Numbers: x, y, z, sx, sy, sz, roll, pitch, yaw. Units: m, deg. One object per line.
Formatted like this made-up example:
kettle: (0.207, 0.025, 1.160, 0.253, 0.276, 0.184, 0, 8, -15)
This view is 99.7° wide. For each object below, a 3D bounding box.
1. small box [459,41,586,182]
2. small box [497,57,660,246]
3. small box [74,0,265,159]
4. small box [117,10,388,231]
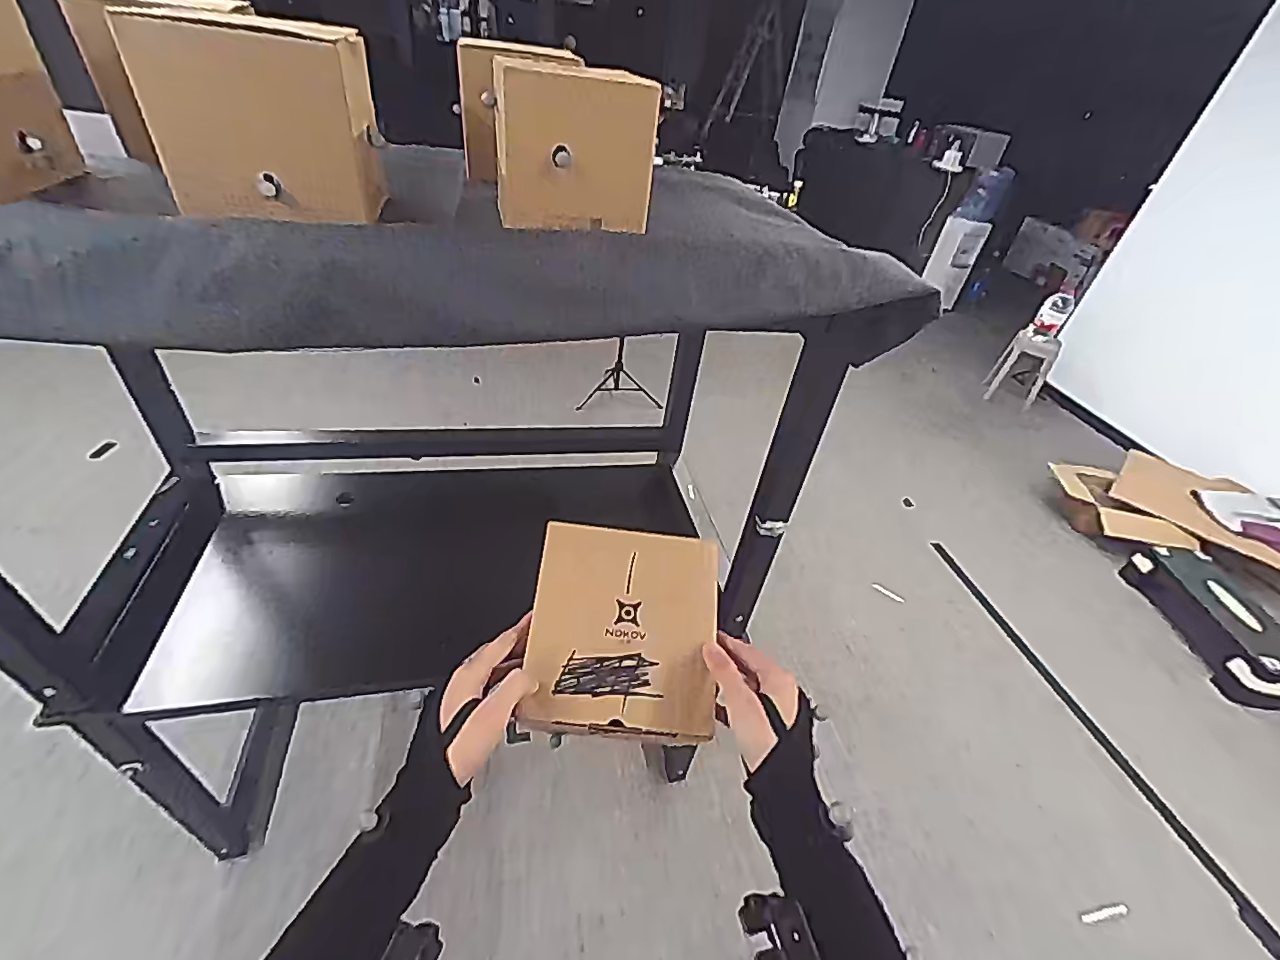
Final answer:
small box: (-0.184, -0.578, 0.859, 0.179, 0.176, 0.168, -2, 41, -13)
small box: (-0.082, -0.396, 0.658, 0.168, 0.176, 0.179, -4, 40, -15)
small box: (-0.600, -0.545, 0.742, 0.168, 0.176, 0.179, -8, 42, -18)
small box: (-0.382, -0.379, 0.581, 0.179, 0.176, 0.168, -3, 40, -15)
